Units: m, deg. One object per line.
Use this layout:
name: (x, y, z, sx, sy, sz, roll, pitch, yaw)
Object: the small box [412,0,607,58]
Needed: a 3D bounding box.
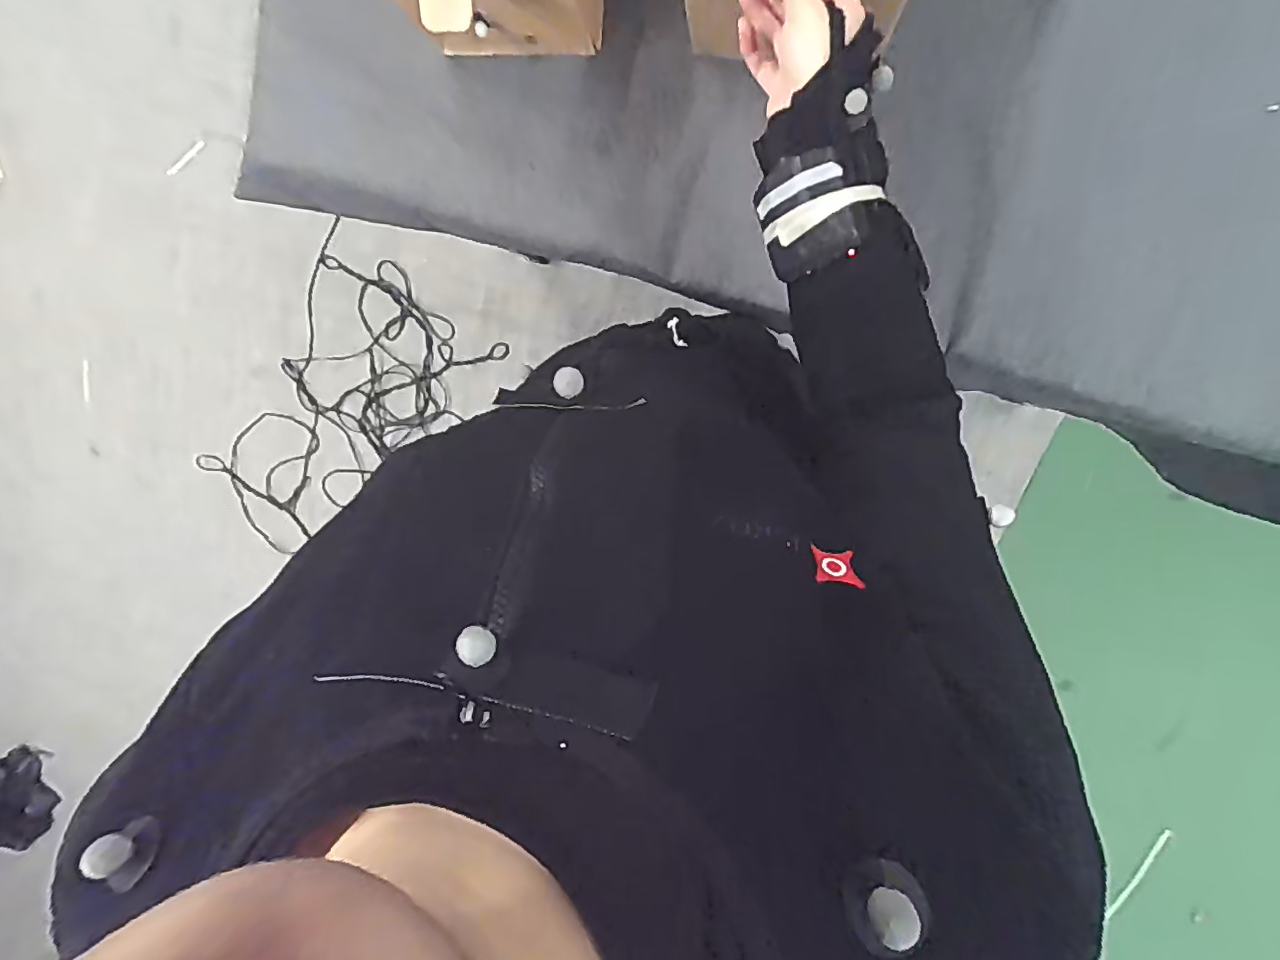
small box: (-0.120, -0.485, 0.434, 0.168, 0.176, 0.179, 7, 104, 9)
